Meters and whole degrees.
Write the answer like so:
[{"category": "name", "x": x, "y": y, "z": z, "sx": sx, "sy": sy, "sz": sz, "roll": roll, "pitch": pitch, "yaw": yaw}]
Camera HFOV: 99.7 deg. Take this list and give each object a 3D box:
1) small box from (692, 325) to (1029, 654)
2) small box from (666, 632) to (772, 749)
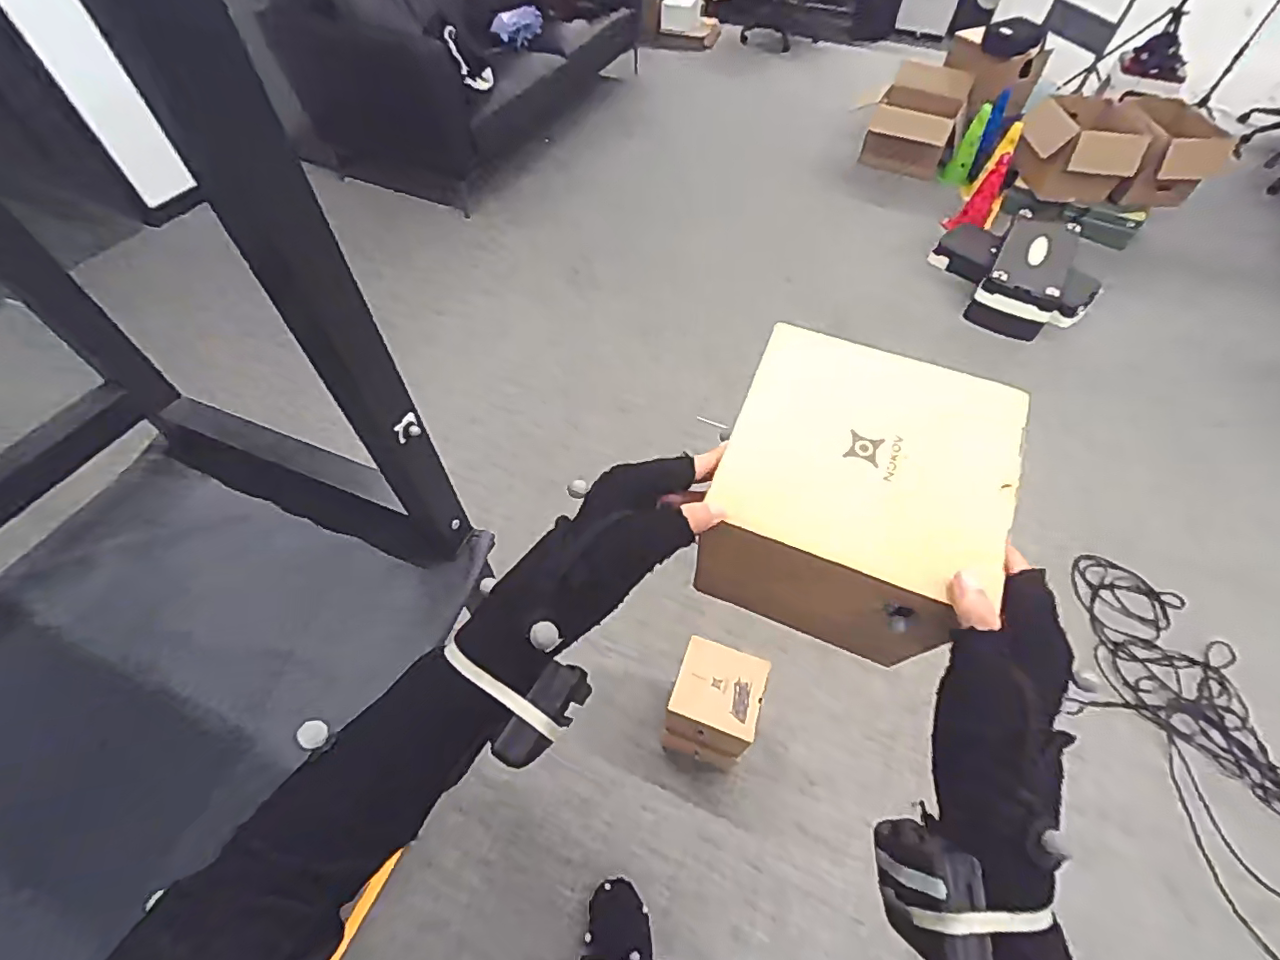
[{"category": "small box", "x": 0.146, "y": 0.018, "z": 0.411, "sx": 0.179, "sy": 0.176, "sz": 0.168, "roll": 20, "pitch": 68, "yaw": 13}, {"category": "small box", "x": 0.164, "y": 0.456, "z": 1.157, "sx": 0.179, "sy": 0.176, "sz": 0.168, "roll": 17, "pitch": 57, "yaw": 13}]
